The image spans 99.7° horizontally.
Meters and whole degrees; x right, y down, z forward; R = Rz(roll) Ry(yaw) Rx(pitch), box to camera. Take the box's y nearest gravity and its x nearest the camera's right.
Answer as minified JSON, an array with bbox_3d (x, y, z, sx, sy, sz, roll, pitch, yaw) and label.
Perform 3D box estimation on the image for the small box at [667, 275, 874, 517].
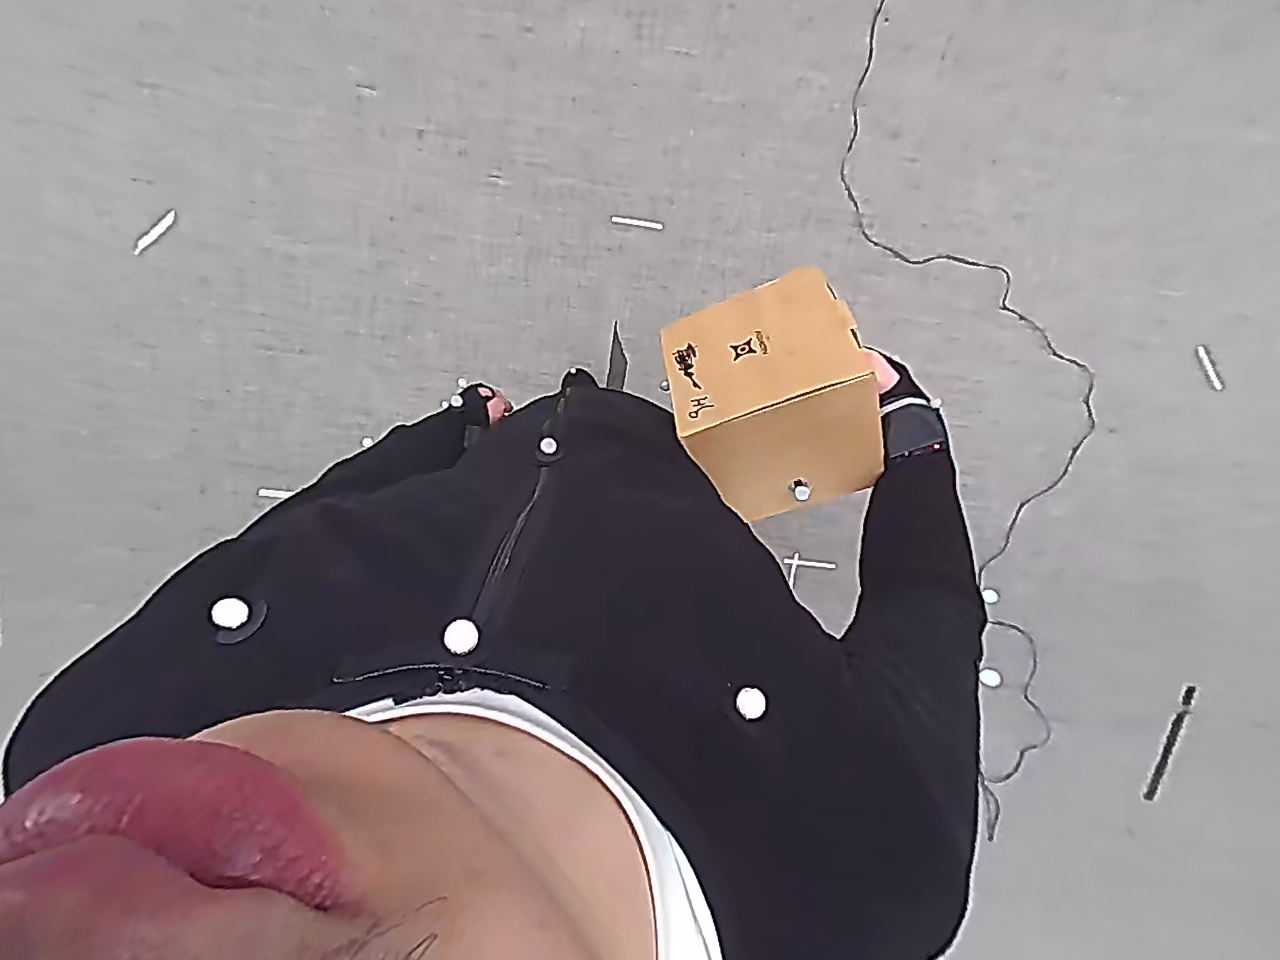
[{"bbox_3d":[0.144,-0.083,0.595,0.179,0.168,0.176,-17,139,15],"label":"small box"}]
